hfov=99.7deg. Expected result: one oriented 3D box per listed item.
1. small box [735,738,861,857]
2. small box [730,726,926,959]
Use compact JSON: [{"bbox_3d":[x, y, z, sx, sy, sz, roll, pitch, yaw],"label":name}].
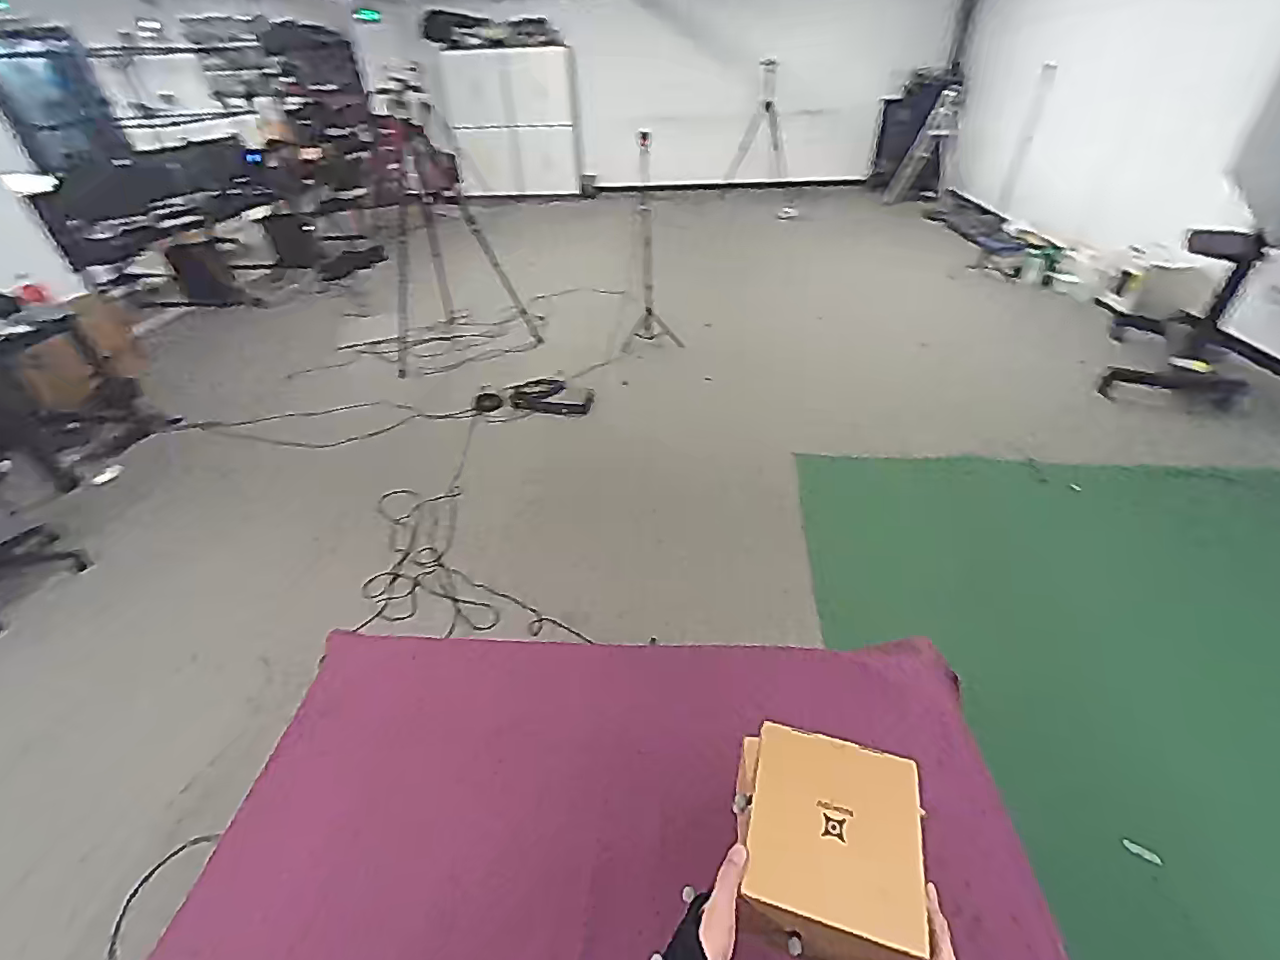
[{"bbox_3d":[0.220,0.487,0.744,0.168,0.176,0.179,2,39,6],"label":"small box"},{"bbox_3d":[0.194,0.407,0.582,0.168,0.176,0.179,10,40,16],"label":"small box"}]
